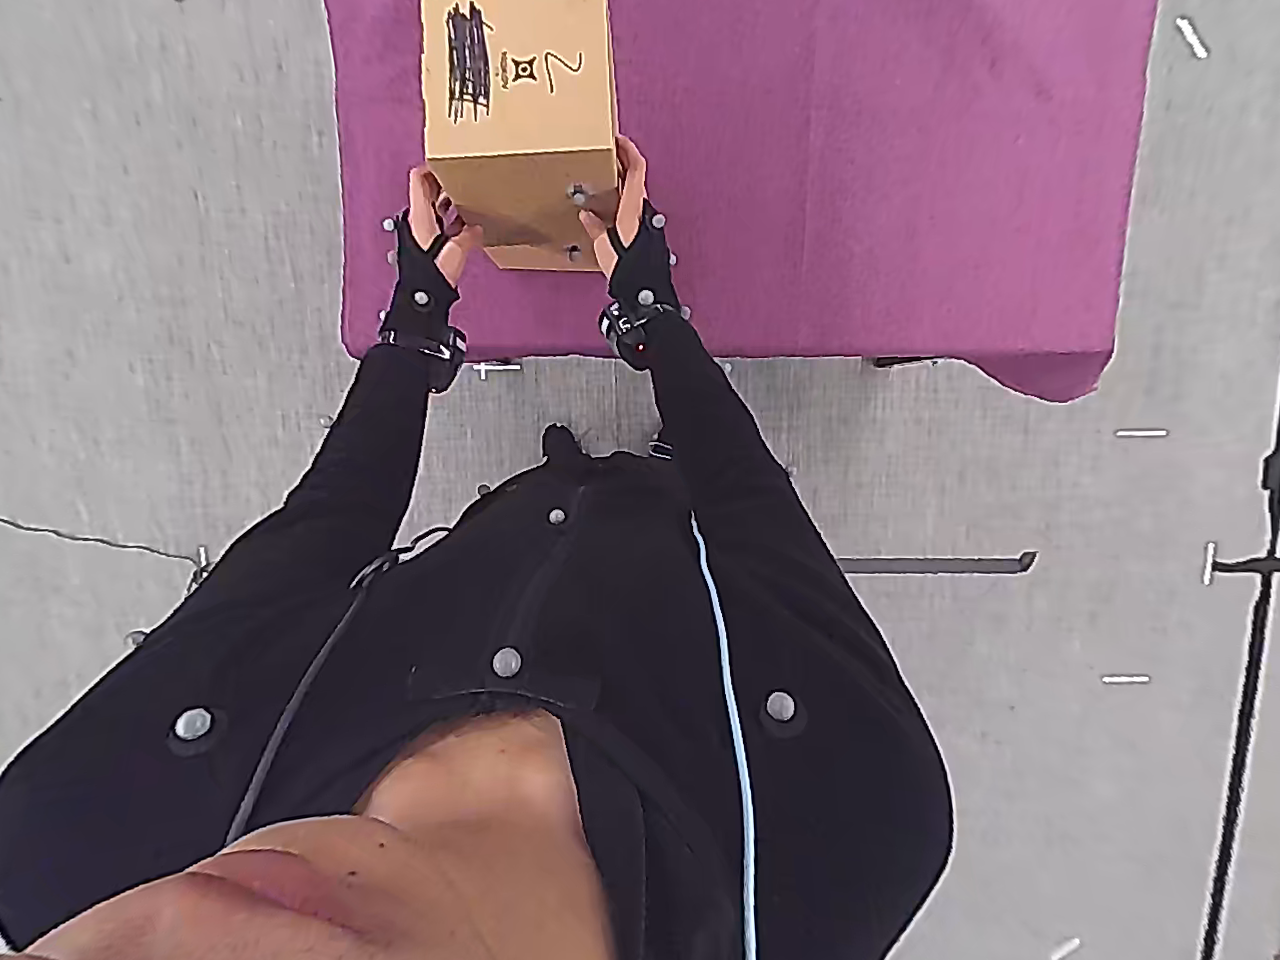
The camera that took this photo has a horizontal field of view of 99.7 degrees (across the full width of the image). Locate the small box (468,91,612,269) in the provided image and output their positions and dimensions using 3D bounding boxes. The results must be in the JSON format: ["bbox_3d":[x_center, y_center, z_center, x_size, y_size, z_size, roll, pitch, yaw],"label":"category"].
[{"bbox_3d":[-0.129,-0.399,0.749,0.179,0.176,0.168,1,98,-2],"label":"small box"}]

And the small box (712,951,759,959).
[{"bbox_3d":[0.332,1.737,1.820,0.168,0.176,0.179,1,99,-2],"label":"small box"}]
